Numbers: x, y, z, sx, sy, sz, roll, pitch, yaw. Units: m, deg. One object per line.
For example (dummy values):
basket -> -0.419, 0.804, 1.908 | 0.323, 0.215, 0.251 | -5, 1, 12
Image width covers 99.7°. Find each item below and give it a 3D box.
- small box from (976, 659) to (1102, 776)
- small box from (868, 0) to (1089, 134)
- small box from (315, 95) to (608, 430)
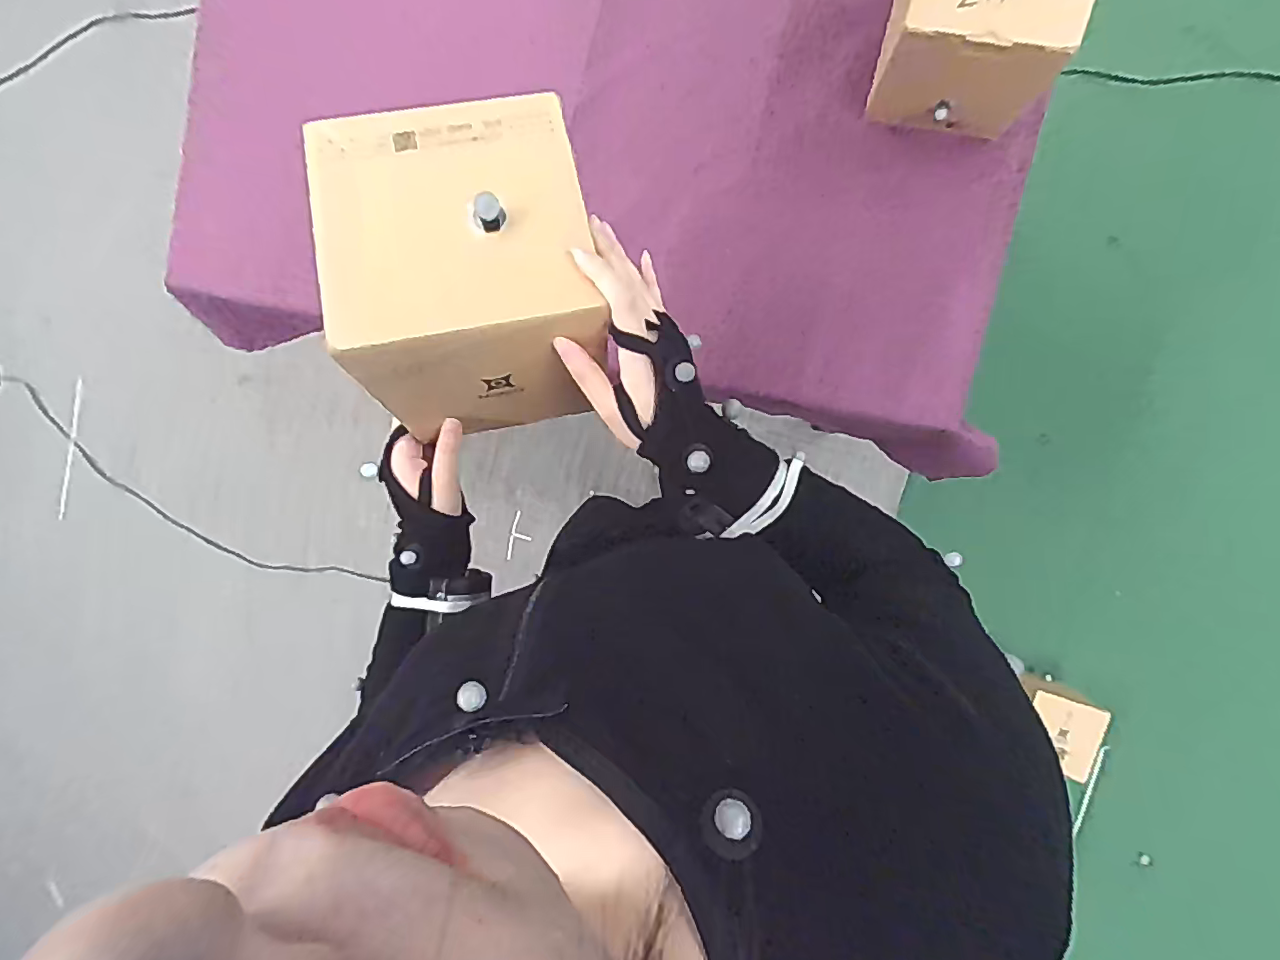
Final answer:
small box -> 0.963, 0.573, 1.326 | 0.168, 0.176, 0.179 | 17, 95, 6
small box -> 0.371, -0.526, 0.594 | 0.168, 0.176, 0.179 | 15, 99, 8
small box -> -0.122, -0.157, 0.415 | 0.168, 0.179, 0.176 | -11, 78, -6
